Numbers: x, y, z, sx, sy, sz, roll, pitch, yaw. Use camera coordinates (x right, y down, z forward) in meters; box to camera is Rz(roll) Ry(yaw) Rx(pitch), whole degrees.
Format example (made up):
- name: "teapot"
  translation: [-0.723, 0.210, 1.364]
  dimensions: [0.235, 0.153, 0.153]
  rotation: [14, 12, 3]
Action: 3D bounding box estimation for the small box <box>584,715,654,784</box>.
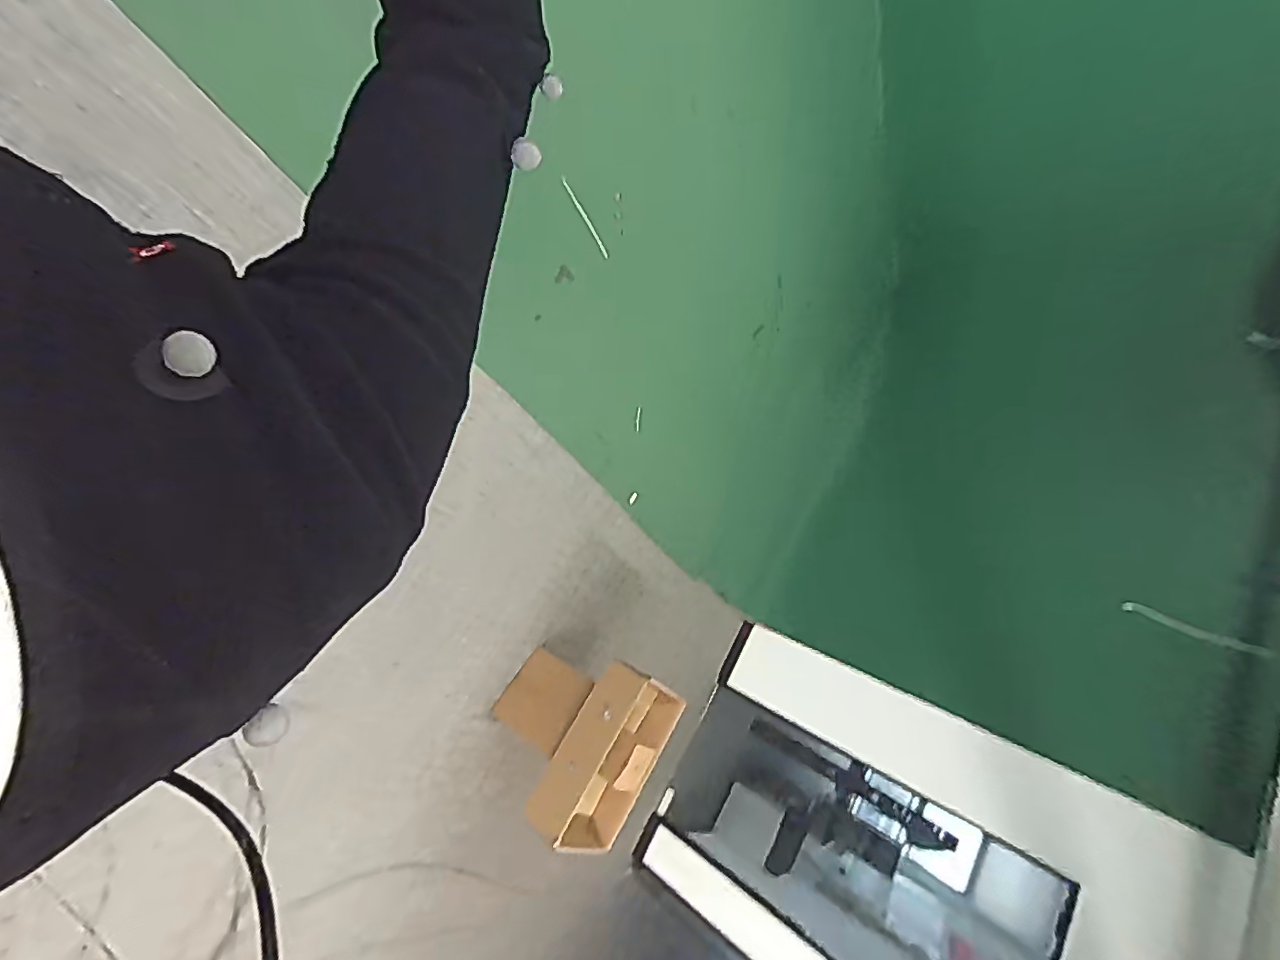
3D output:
- name: "small box"
  translation: [-0.080, 1.006, 2.023]
  dimensions: [0.168, 0.176, 0.179]
  rotation: [-57, 144, -15]
